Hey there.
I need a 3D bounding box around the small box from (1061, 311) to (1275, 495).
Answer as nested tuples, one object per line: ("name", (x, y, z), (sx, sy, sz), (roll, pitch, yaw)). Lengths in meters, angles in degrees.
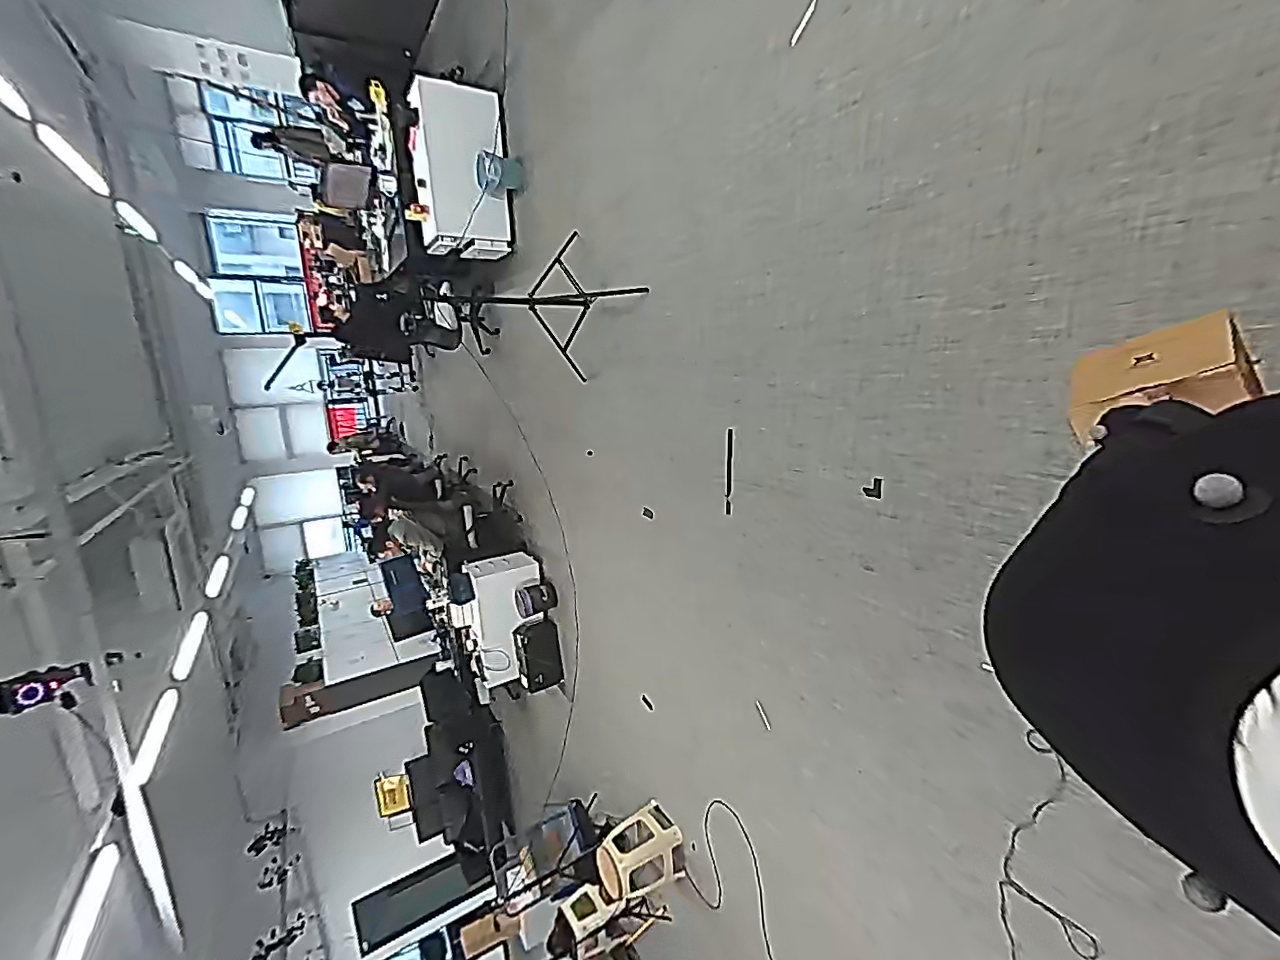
("small box", (0.719, -0.093, 0.741), (0.168, 0.179, 0.176), (-20, 107, 53))
